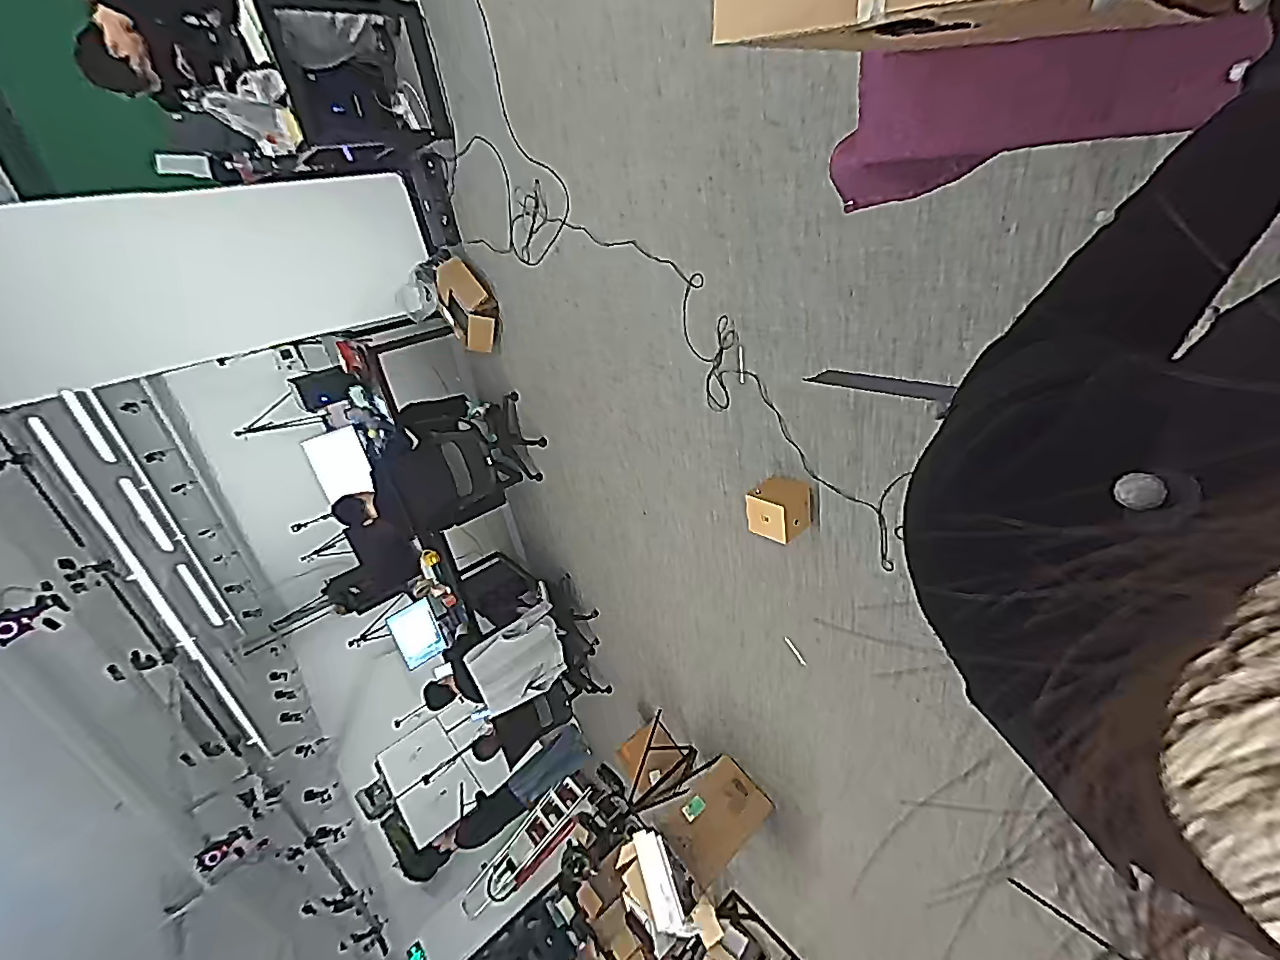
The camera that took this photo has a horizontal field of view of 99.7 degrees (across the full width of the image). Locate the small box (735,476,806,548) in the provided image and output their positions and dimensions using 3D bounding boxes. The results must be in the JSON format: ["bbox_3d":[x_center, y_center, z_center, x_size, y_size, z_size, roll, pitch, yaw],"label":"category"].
[{"bbox_3d":[0.481,0.122,2.020,0.179,0.176,0.168,58,173,-30],"label":"small box"}]
